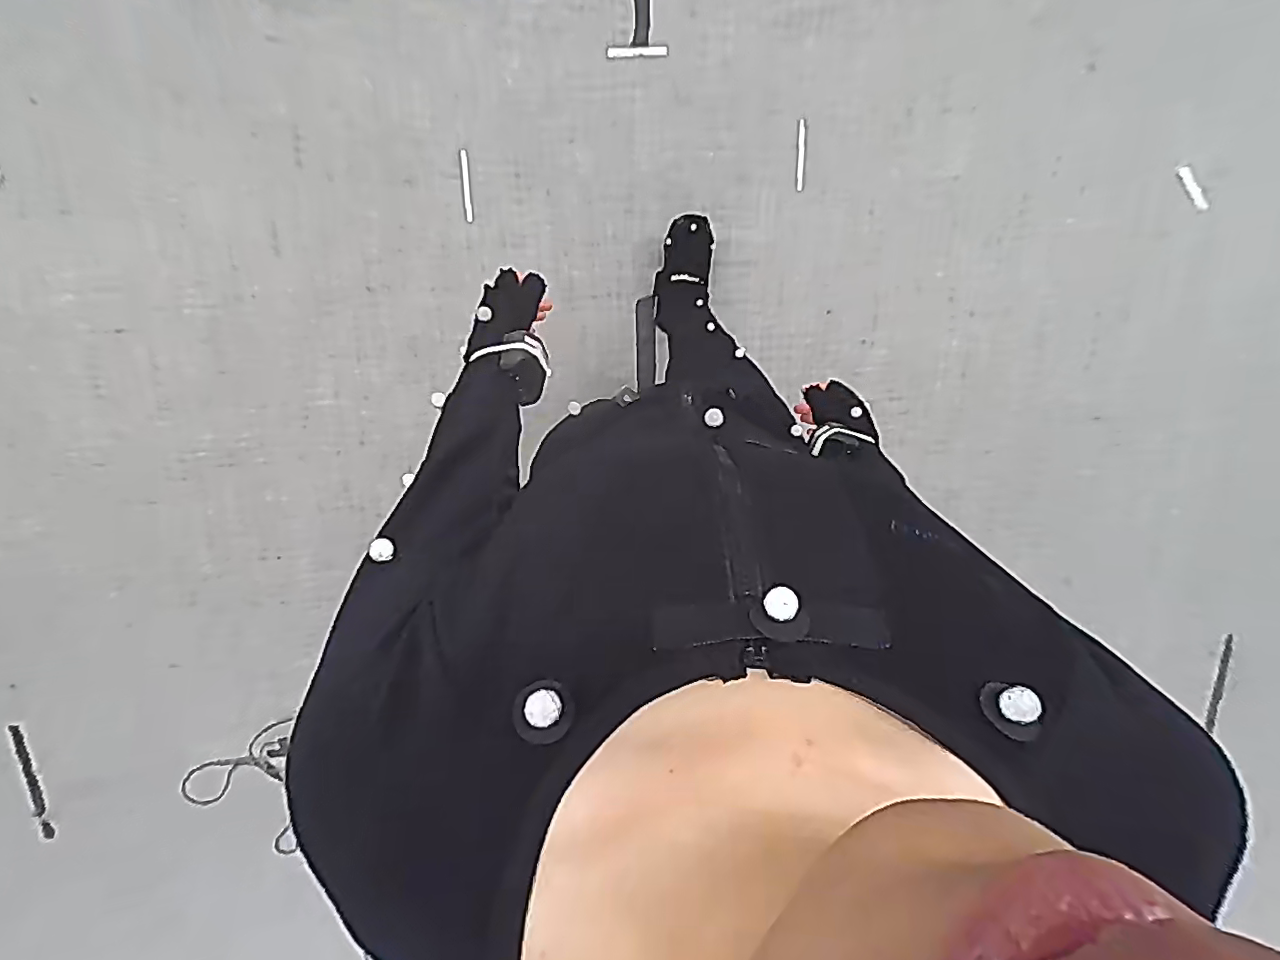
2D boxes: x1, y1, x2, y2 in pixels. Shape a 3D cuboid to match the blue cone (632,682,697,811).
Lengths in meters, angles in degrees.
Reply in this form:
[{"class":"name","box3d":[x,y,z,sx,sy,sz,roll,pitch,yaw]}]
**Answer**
[{"class":"blue cone","box3d":[0.088,0.748,1.492,0.192,0.380,0.193,-6,105,-3]}]
